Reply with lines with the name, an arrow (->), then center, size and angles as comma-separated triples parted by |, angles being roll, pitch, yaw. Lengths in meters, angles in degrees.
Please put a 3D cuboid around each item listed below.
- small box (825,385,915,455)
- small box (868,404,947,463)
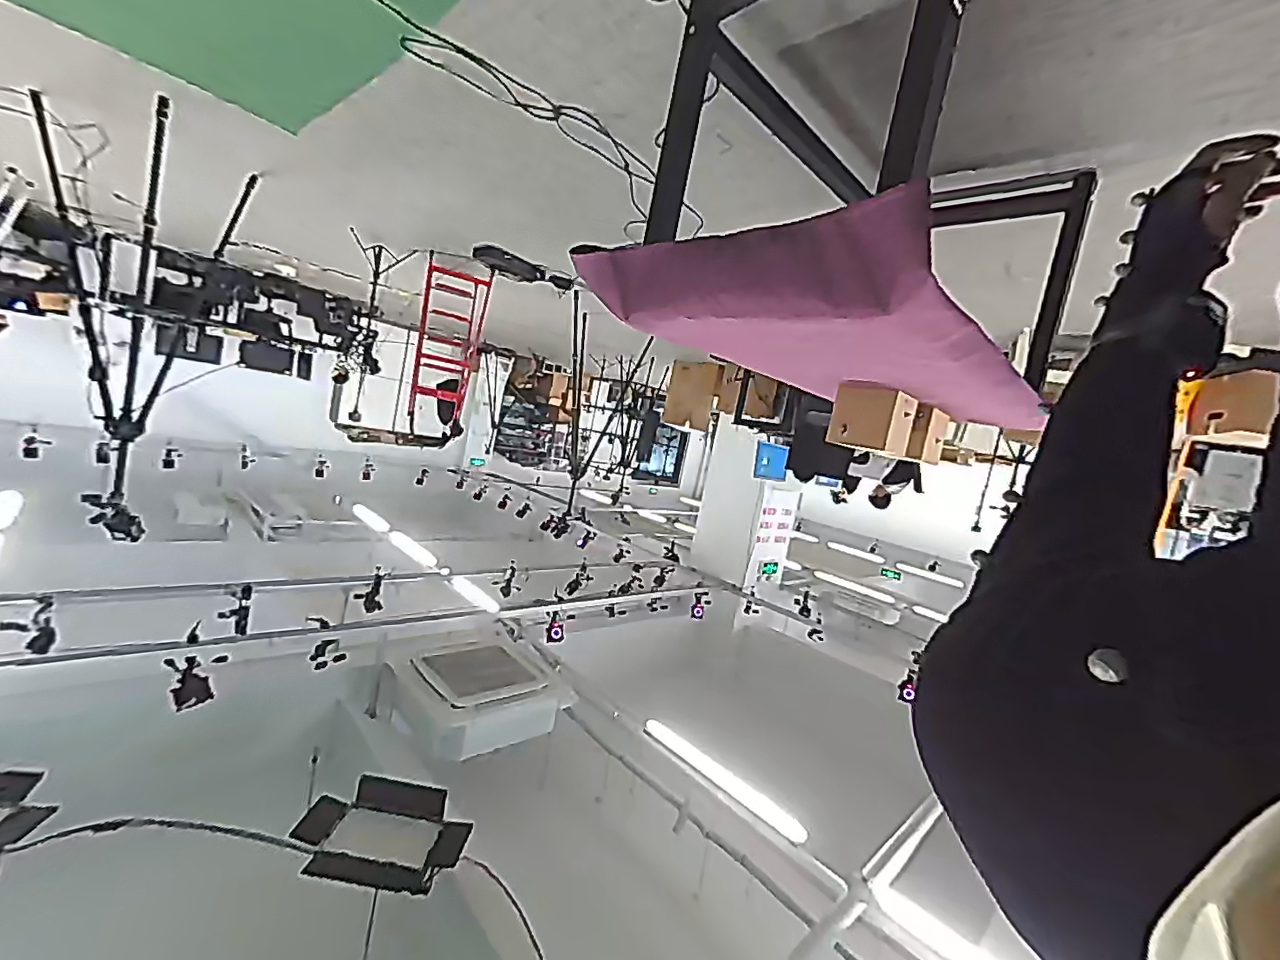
small box -> 0.667, -0.178, 1.566 | 0.179, 0.176, 0.168 | 15, -173, 43
small box -> 0.859, -0.155, 1.734 | 0.168, 0.176, 0.179 | 16, -172, 43
